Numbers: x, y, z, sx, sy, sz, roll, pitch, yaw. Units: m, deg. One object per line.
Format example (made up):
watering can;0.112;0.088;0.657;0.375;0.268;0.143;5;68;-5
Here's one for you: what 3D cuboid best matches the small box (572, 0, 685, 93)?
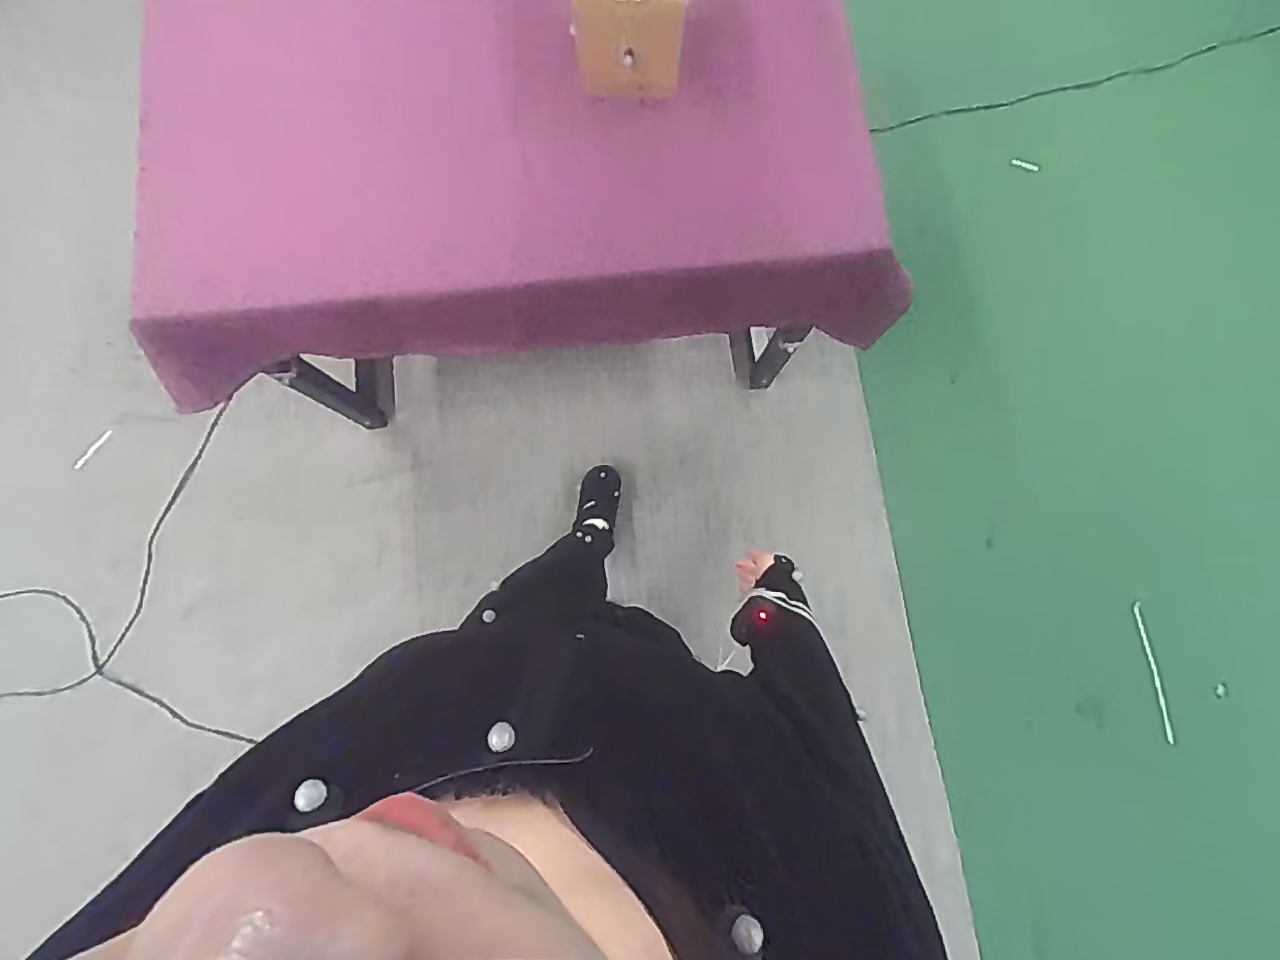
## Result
small box;-0.014;-0.753;0.854;0.168;0.176;0.179;1;81;-1
